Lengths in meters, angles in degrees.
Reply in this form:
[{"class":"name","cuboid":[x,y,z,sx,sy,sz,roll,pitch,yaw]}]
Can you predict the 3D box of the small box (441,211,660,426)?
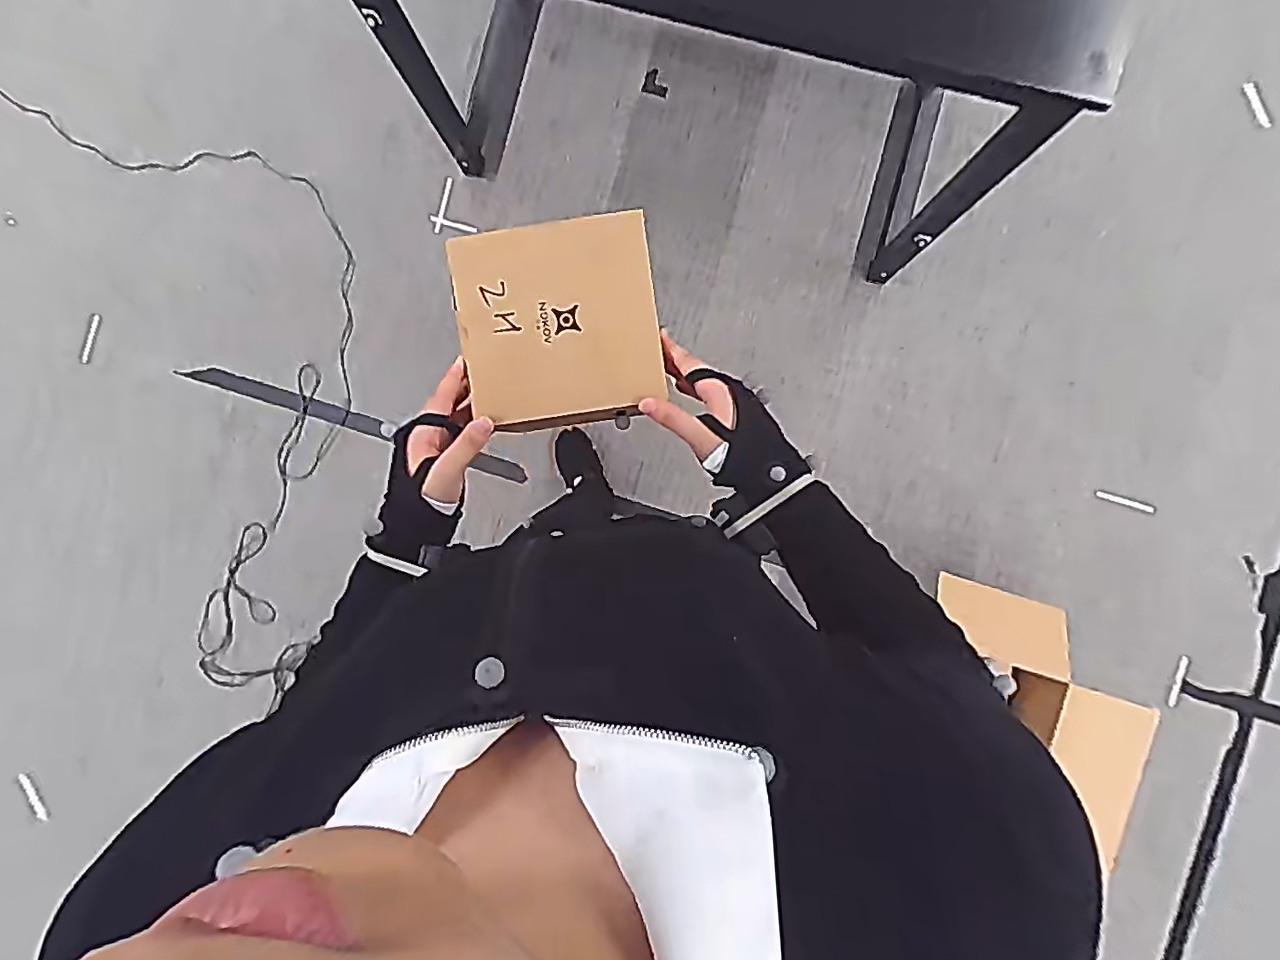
[{"class":"small box","cuboid":[-0.078,-0.148,0.555,0.179,0.176,0.168,-8,93,2]}]
